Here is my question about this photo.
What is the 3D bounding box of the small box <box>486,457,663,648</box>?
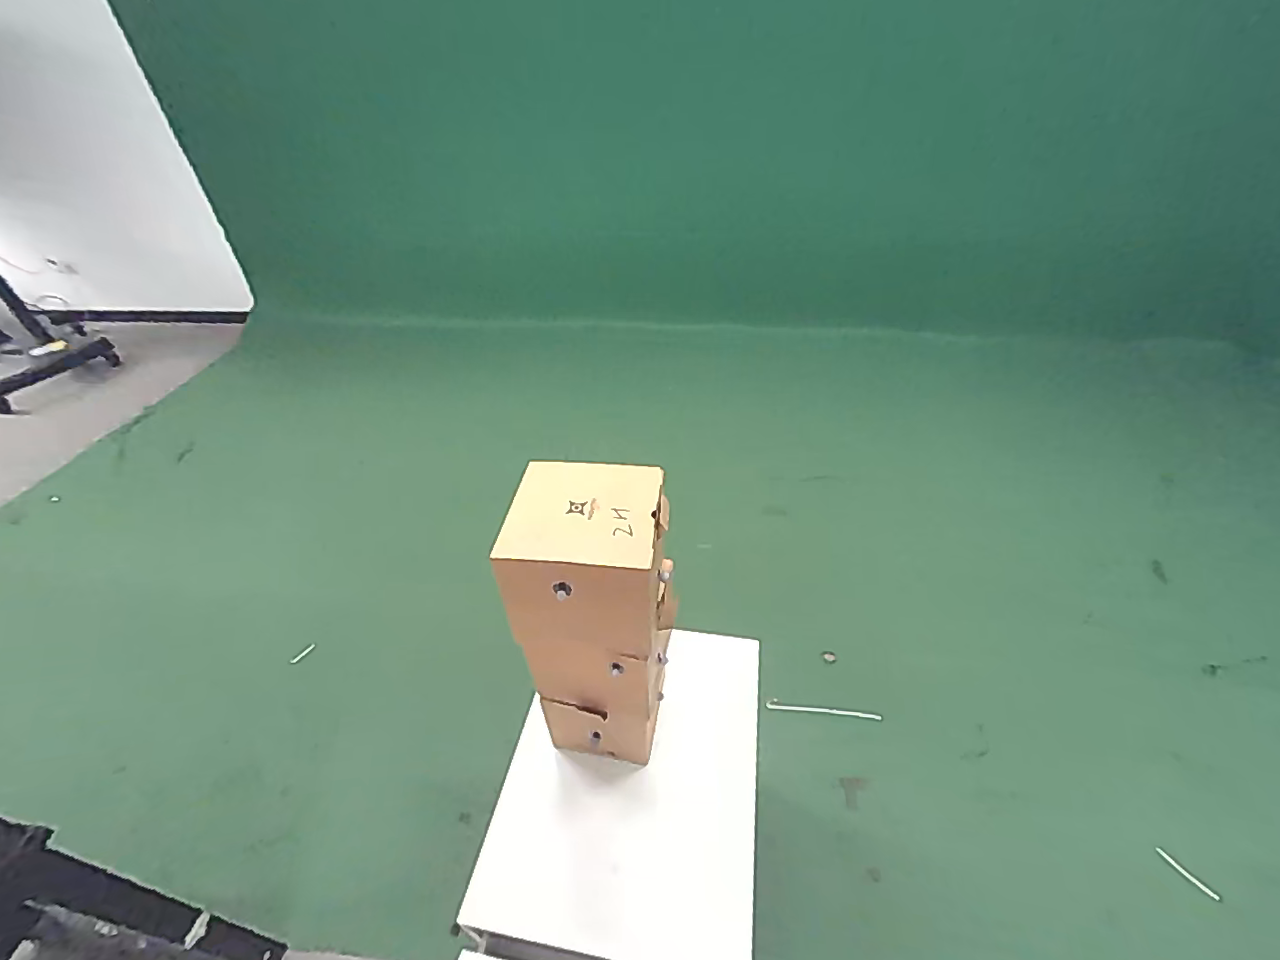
[{"bbox_3d":[-0.066,0.089,0.670,0.179,0.176,0.168,3,42,6],"label":"small box"}]

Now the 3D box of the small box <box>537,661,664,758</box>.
[{"bbox_3d":[-0.053,0.330,0.891,0.168,0.176,0.179,7,42,9],"label":"small box"}]

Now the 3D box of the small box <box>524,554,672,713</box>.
[{"bbox_3d":[-0.055,0.210,0.781,0.179,0.176,0.168,8,42,11],"label":"small box"}]
